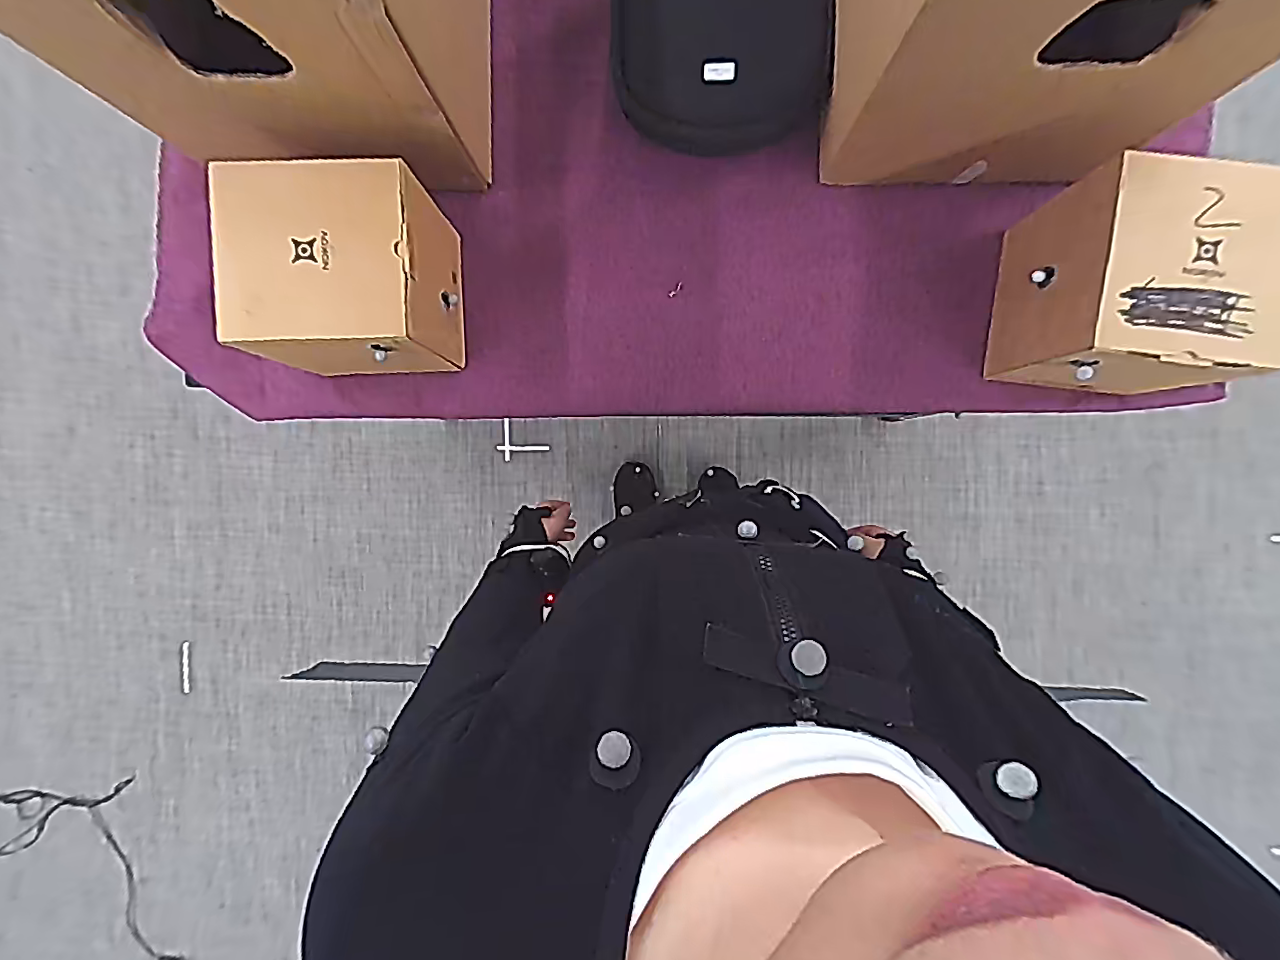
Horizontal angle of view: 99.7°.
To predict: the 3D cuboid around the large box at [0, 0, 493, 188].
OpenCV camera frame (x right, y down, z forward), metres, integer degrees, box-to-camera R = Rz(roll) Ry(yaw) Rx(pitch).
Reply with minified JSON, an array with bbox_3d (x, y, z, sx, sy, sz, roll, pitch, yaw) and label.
[{"bbox_3d":[-0.332,-0.545,0.500,0.320,0.320,0.408,0,95,1],"label":"large box"}]
